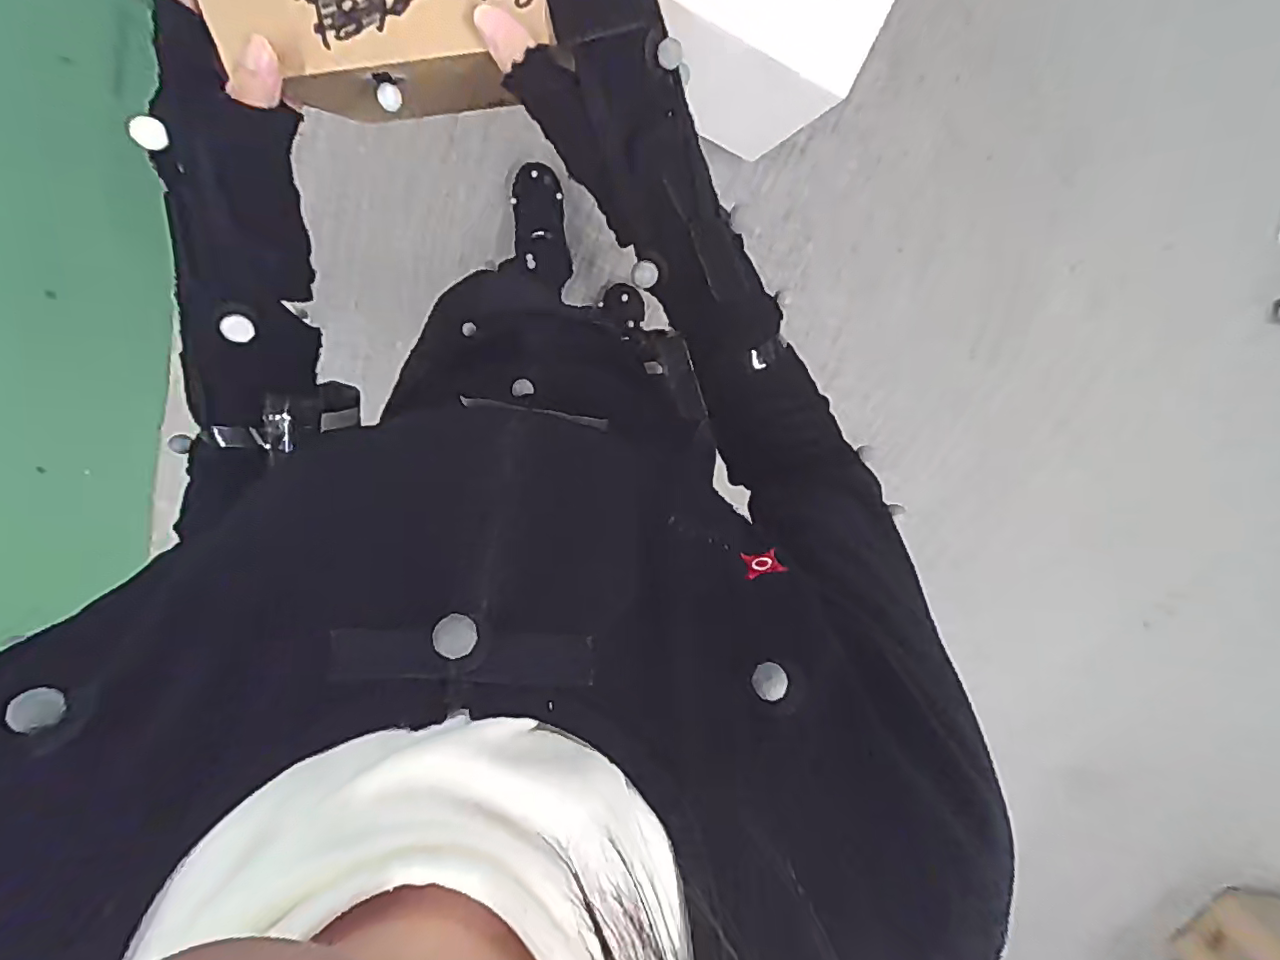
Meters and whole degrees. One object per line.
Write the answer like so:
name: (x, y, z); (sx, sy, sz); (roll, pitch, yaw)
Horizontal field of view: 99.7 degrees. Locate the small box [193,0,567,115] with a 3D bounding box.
small box: (-0.135, -0.319, 0.287); (0.168, 0.176, 0.179); (-9, 117, -1)
